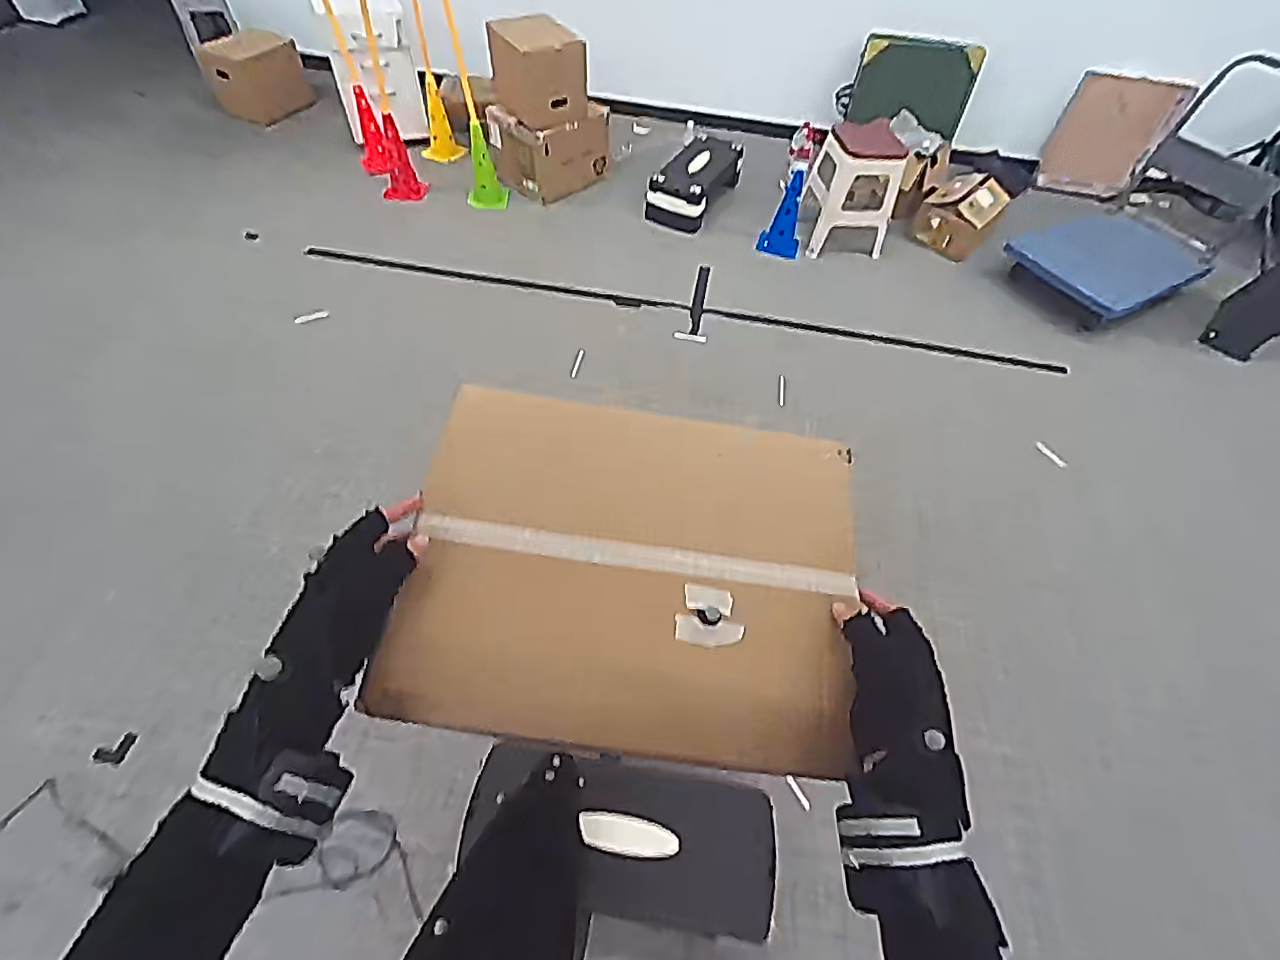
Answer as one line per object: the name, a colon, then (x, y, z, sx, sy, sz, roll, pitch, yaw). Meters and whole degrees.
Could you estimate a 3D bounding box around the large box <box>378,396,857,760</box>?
large box: (-0.017, 0.138, 0.638, 0.408, 0.320, 0.320, 9, 63, -2)
